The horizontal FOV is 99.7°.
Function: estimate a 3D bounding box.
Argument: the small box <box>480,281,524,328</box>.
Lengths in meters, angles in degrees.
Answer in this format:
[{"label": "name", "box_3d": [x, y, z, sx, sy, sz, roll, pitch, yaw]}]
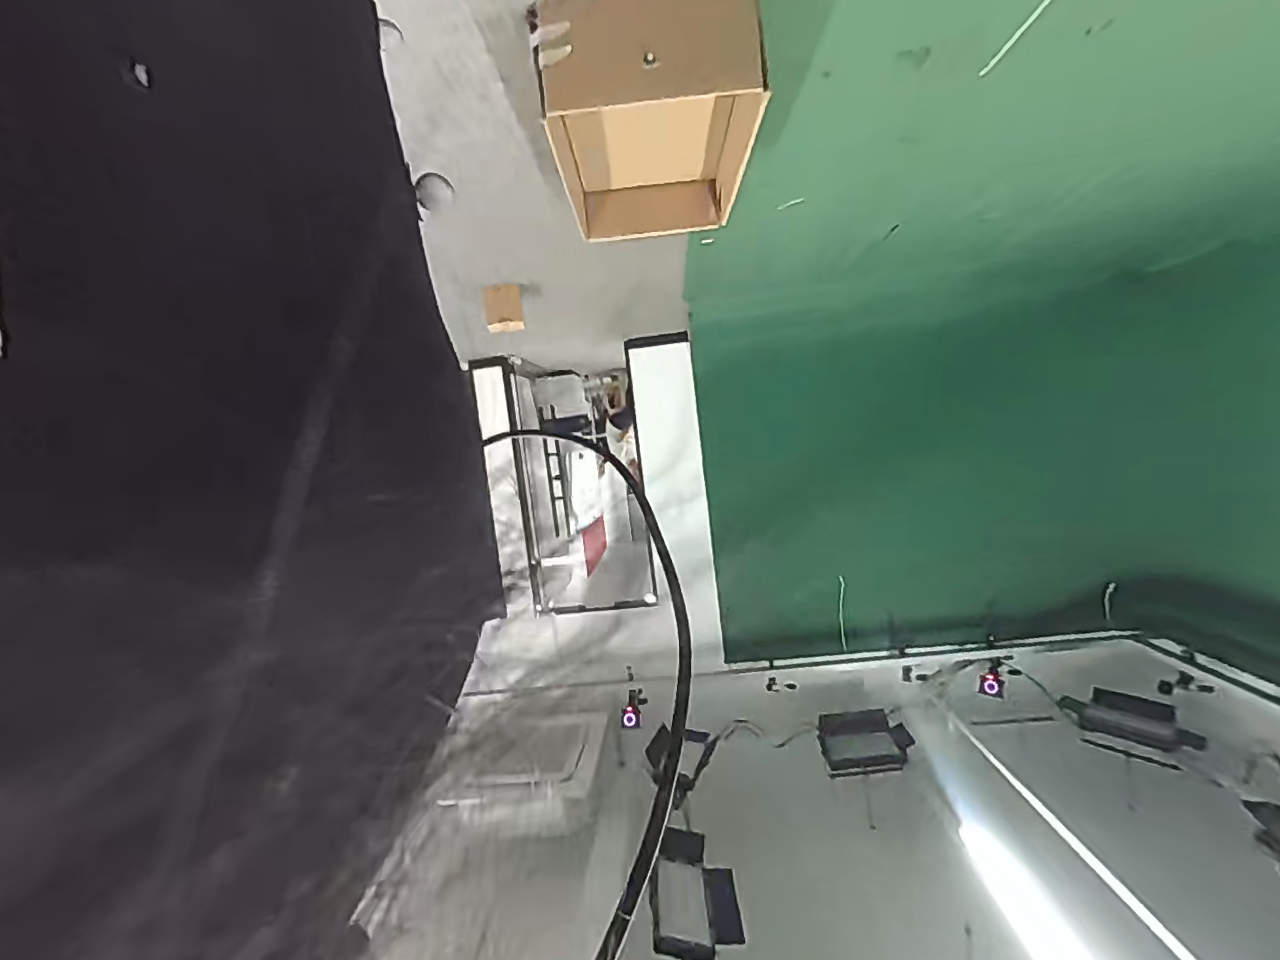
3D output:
[{"label": "small box", "box_3d": [-0.630, -0.805, 2.474, 0.168, 0.176, 0.179, -8, -175, -9]}]
